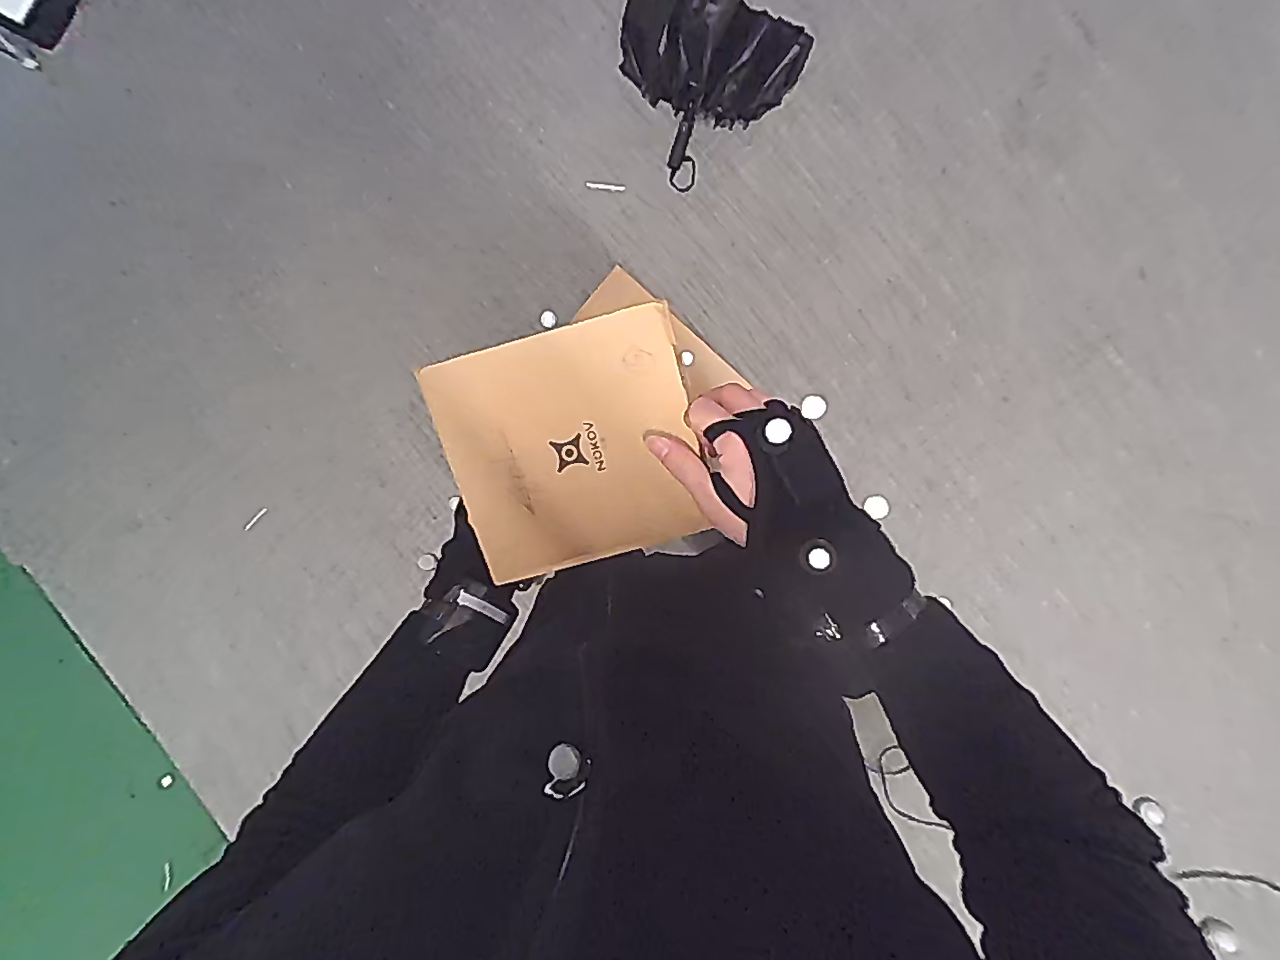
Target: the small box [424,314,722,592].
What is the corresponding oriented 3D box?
[{"bbox_3d":[-0.045,-0.033,0.459,0.179,0.176,0.168,-17,102,4],"label":"small box"}]
